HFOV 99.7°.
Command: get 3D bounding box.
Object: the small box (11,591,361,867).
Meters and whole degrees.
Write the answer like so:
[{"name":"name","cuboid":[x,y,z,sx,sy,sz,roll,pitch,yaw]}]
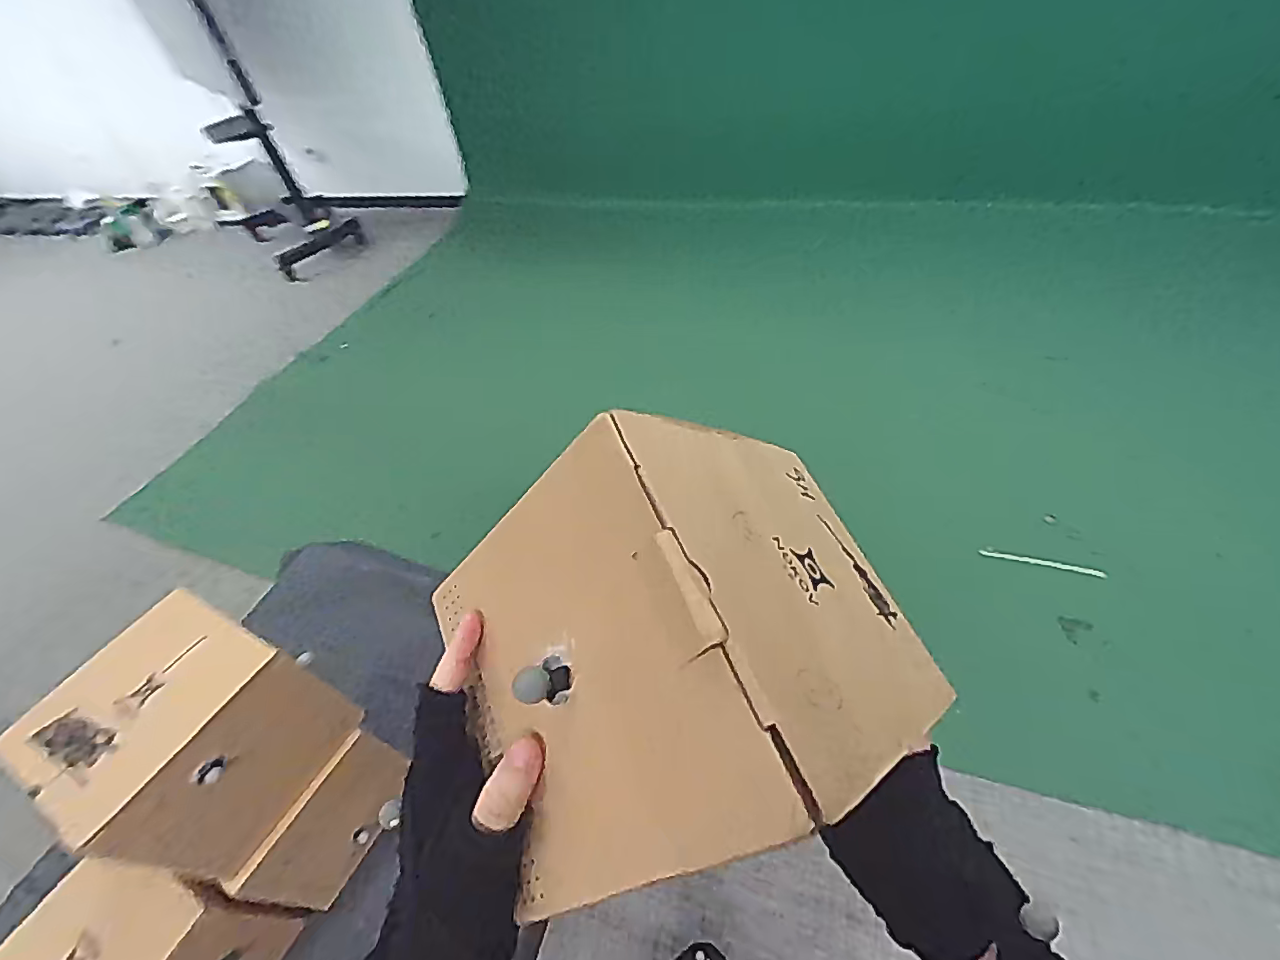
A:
[{"name":"small box","cuboid":[-0.429,0.250,0.543,0.168,0.176,0.179,18,54,23]}]
